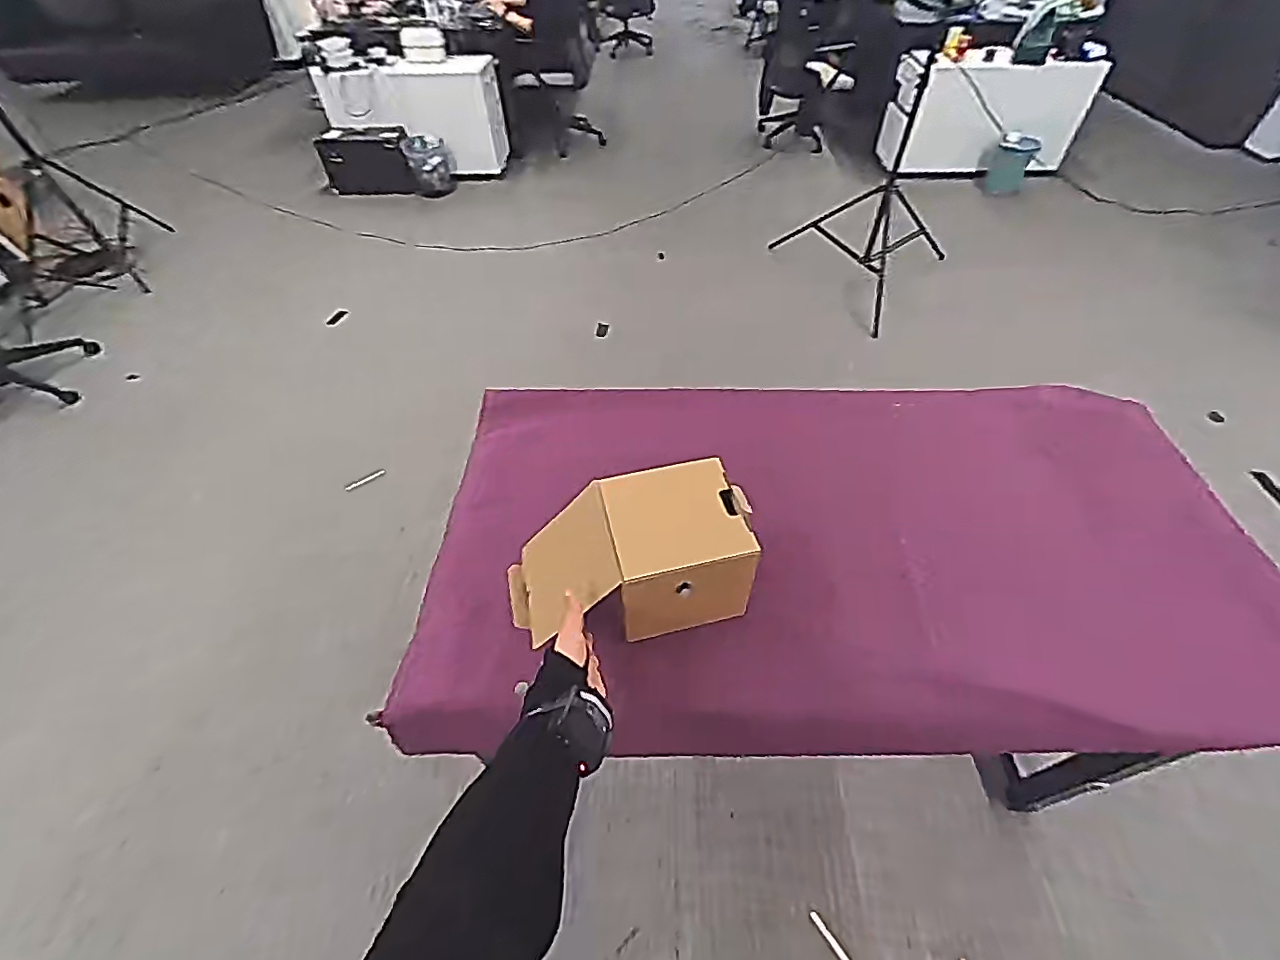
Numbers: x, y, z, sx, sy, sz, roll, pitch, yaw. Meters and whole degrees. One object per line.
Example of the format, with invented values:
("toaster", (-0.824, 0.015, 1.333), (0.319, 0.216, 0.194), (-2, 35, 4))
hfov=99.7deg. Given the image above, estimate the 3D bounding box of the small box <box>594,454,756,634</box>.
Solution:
("small box", (0.041, 0.092, 0.746), (0.179, 0.176, 0.168), (-11, 50, -8))
